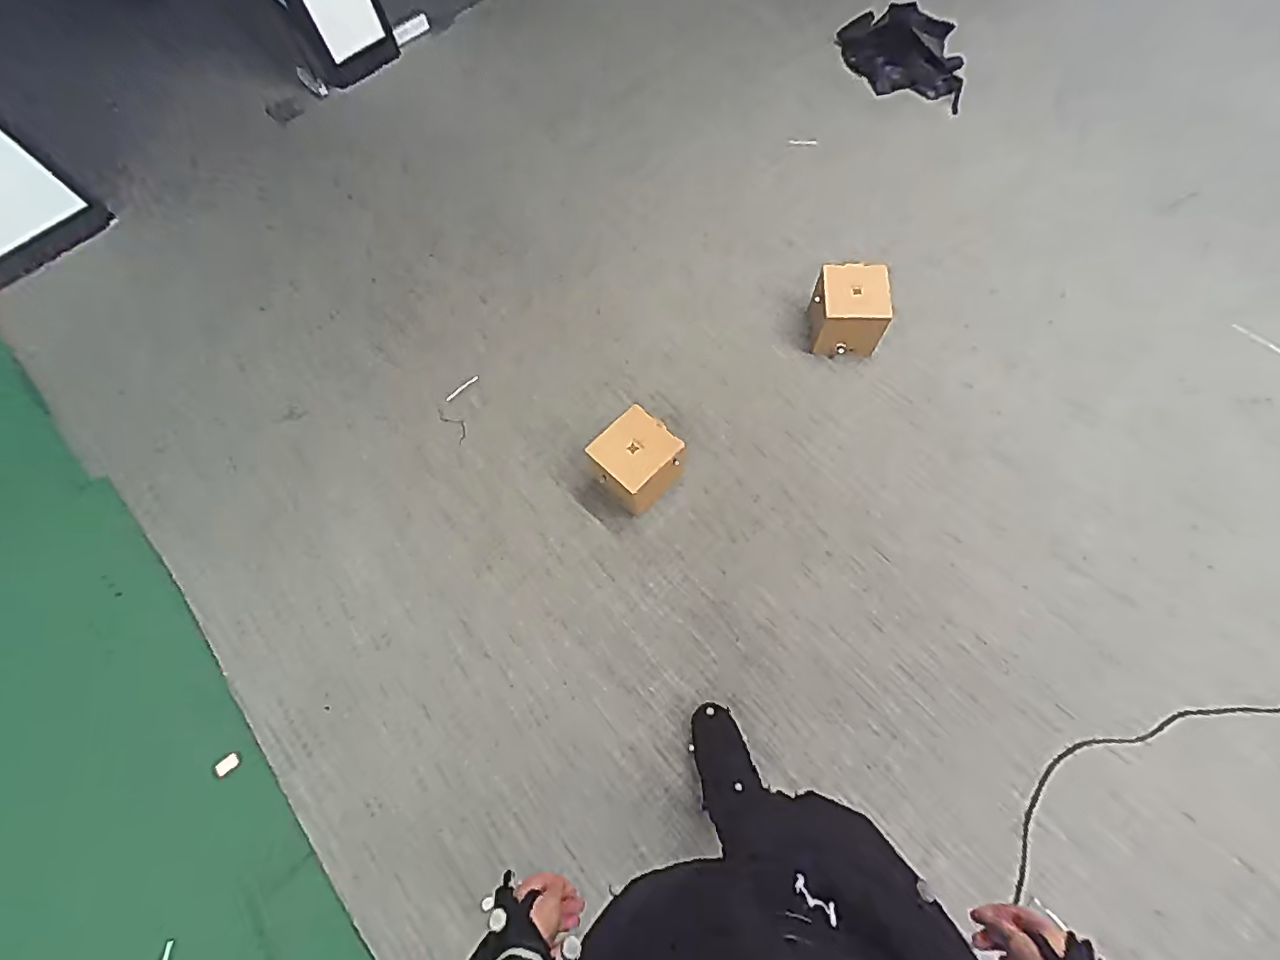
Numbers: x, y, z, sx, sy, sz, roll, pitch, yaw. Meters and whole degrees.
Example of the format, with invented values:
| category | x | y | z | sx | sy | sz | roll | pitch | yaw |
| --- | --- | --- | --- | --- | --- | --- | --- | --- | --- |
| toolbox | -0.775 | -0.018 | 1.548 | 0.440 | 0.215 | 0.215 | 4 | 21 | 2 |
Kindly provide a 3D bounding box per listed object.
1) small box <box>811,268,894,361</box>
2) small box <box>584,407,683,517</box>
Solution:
| category | x | y | z | sx | sy | sz | roll | pitch | yaw |
| --- | --- | --- | --- | --- | --- | --- | --- | --- | --- |
| small box | 0.564 | -0.444 | 1.459 | 0.168 | 0.176 | 0.179 | 2 | 68 | 6 |
| small box | -0.009 | -0.036 | 1.322 | 0.168 | 0.176 | 0.179 | 42 | 75 | 18 |
